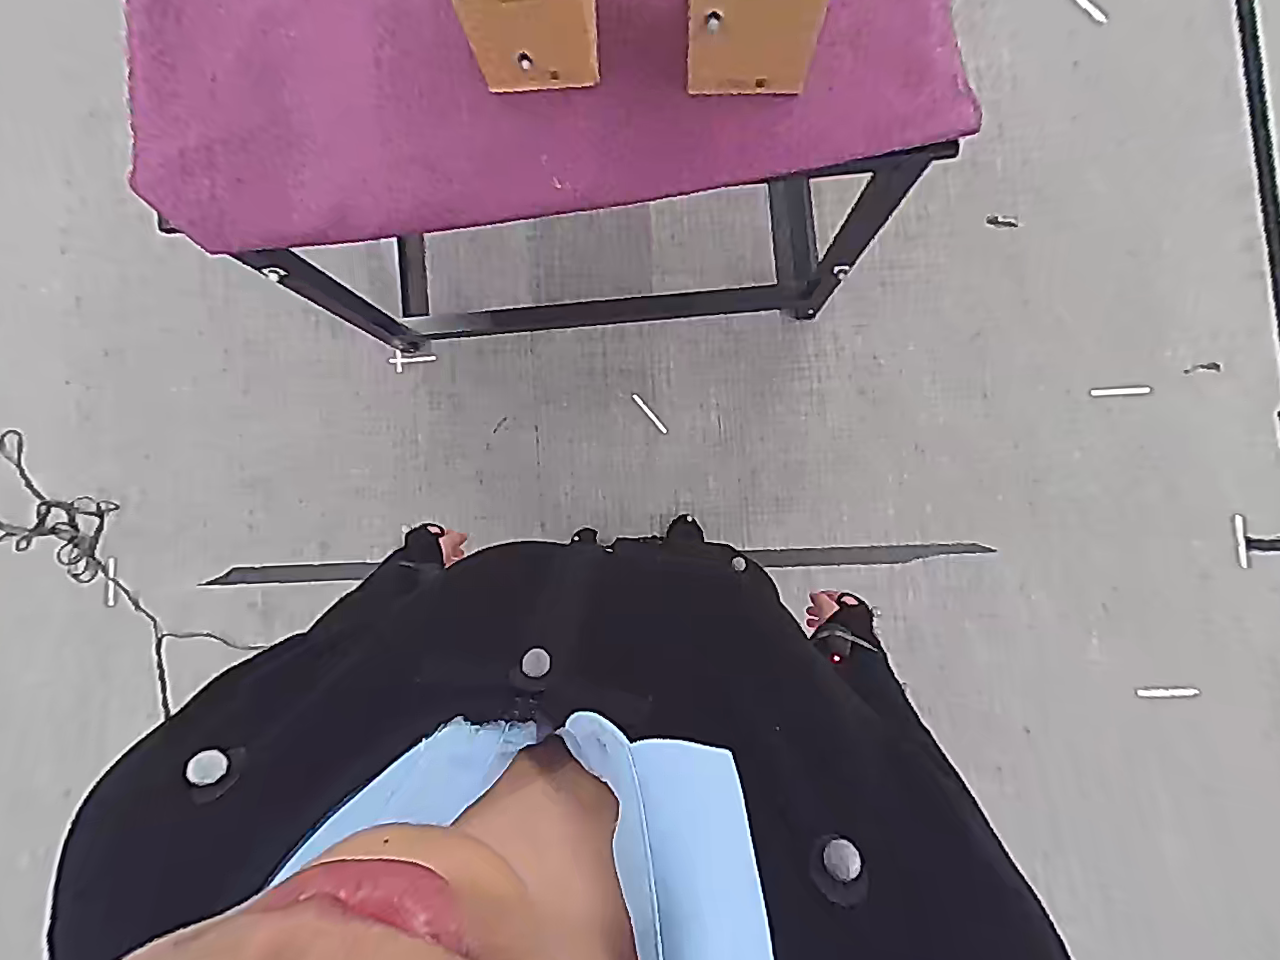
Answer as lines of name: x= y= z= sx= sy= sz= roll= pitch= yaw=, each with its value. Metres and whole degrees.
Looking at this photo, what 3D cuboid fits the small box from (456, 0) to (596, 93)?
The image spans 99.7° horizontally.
small box: x=-0.153 y=-0.675 z=0.736 sx=0.168 sy=0.176 sz=0.179 roll=-2 pitch=87 yaw=2
